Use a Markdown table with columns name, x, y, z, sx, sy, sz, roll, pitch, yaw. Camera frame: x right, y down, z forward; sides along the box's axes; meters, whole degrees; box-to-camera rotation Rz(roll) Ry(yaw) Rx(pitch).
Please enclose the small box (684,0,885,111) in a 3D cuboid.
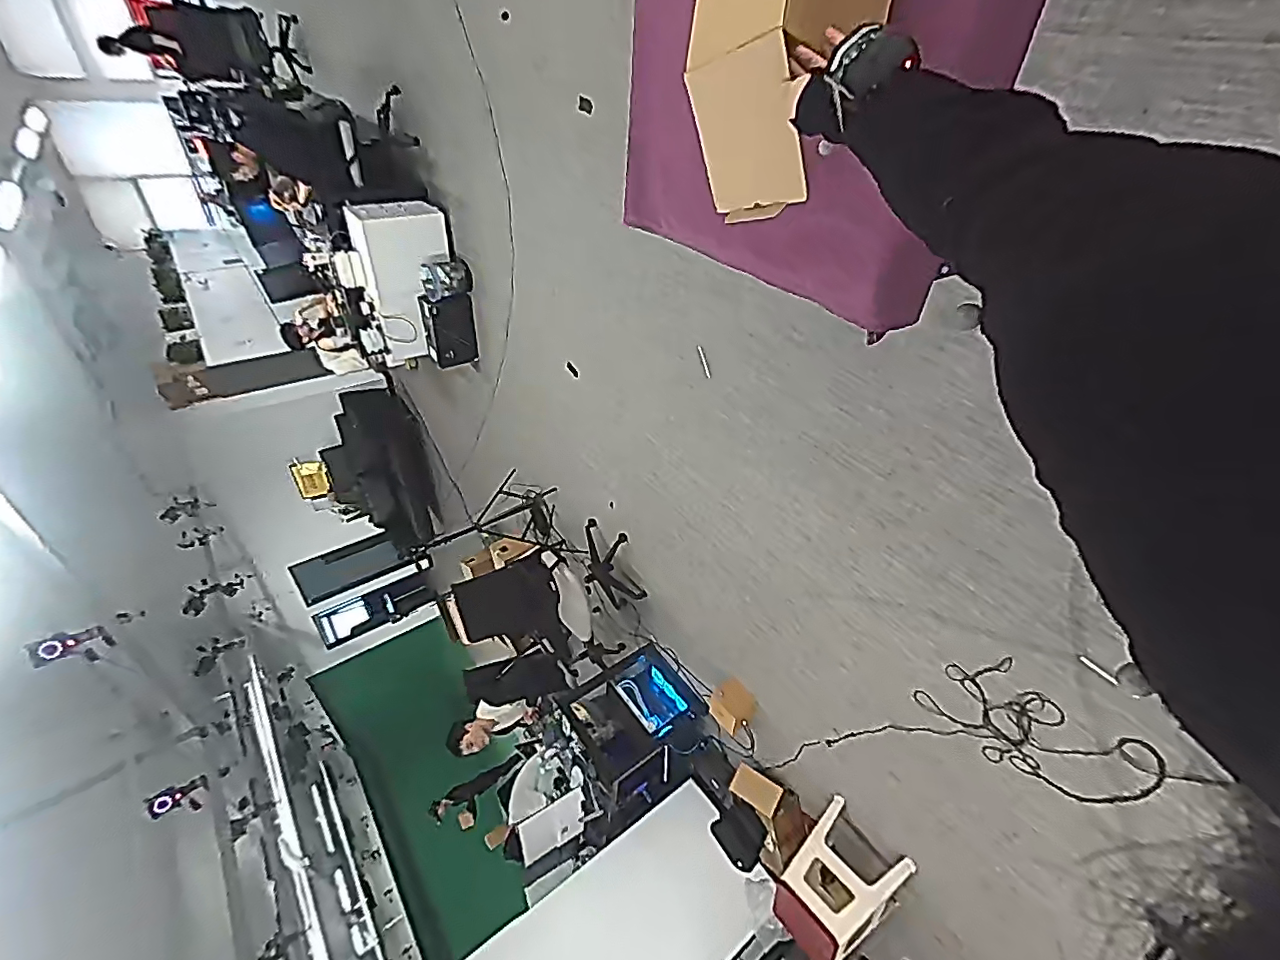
| name | x | y | z | sx | sy | sz | roll | pitch | yaw |
| --- | --- | --- | --- | --- | --- | --- | --- | --- | --- |
| small box | 0.179 | -0.577 | 0.651 | 0.168 | 0.176 | 0.179 | 26 | 112 | 50 |
